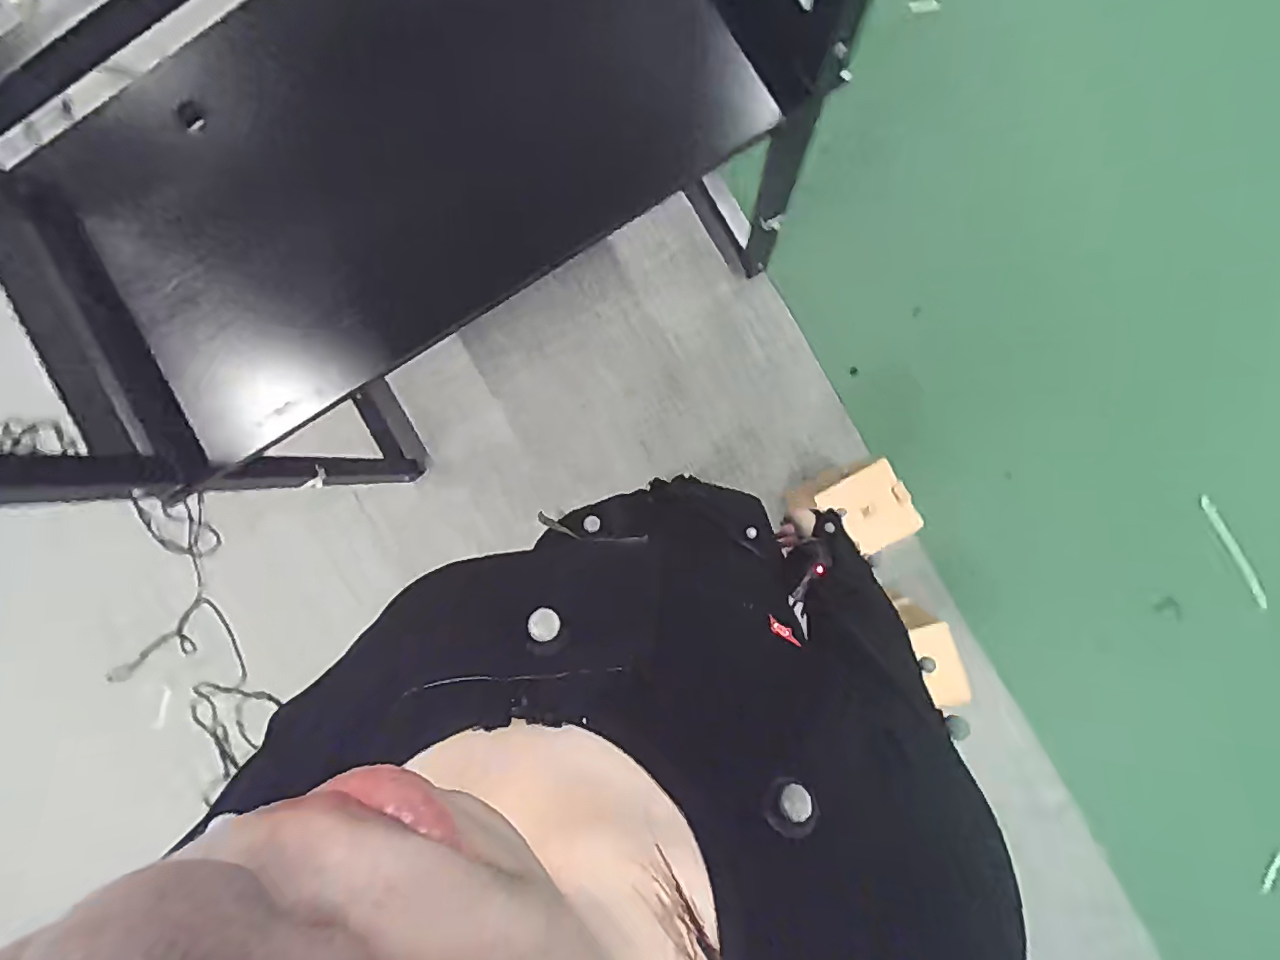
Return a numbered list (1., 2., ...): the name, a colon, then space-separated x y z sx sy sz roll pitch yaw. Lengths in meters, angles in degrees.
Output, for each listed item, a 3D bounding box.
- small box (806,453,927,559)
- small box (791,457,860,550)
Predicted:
1. small box: 0.489 0.055 1.205 0.179 0.176 0.168 -30 88 4
2. small box: 0.499 0.056 1.367 0.179 0.176 0.168 -31 88 6
